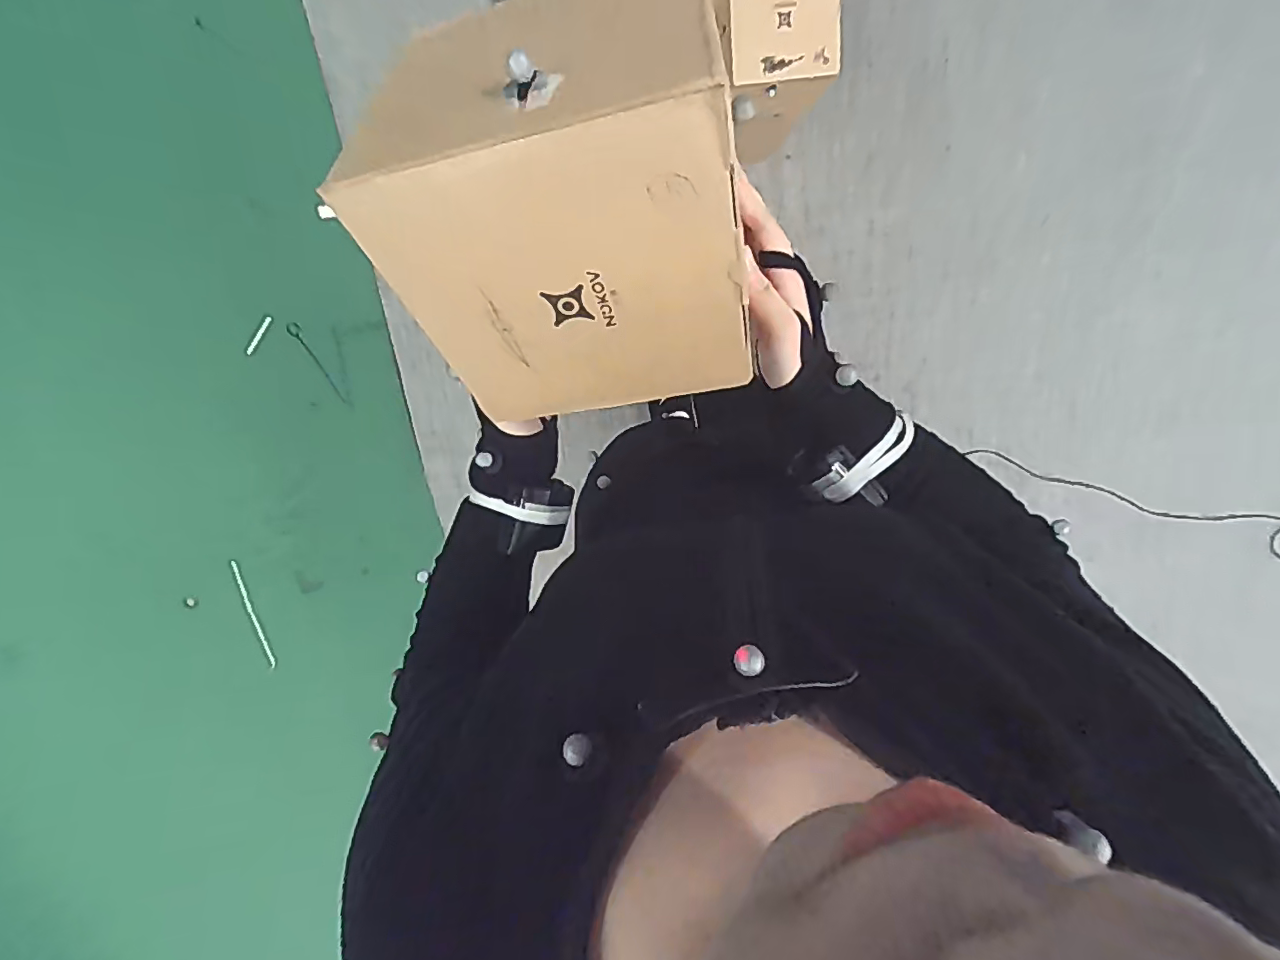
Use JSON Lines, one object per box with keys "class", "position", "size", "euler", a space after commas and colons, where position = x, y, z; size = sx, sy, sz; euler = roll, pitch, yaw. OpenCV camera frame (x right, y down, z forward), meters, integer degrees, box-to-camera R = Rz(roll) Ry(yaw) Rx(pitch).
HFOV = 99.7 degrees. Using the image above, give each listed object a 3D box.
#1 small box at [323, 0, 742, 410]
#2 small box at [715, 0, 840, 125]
{"class": "small box", "position": [-0.039, -0.167, 0.325], "size": [0.179, 0.176, 0.168], "euler": [-6, 147, 11]}
{"class": "small box", "position": [0.216, -0.714, 0.882], "size": [0.168, 0.176, 0.179], "euler": [-4, 105, 2]}
